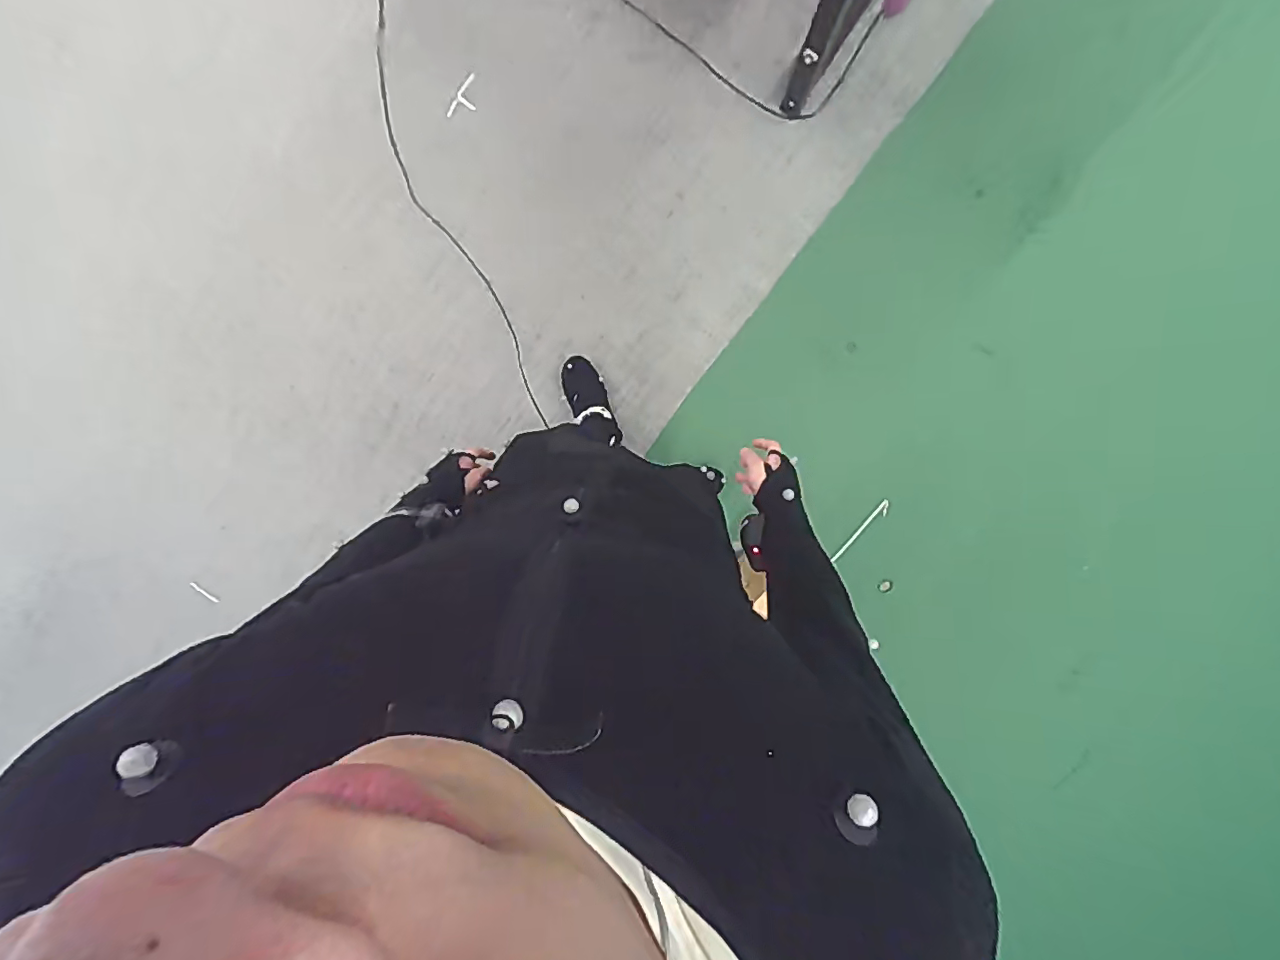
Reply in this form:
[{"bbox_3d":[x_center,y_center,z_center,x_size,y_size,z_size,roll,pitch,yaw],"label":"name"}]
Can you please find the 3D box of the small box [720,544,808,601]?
[{"bbox_3d":[0.354,0.314,1.580,0.179,0.176,0.168,39,100,-4],"label":"small box"}]
